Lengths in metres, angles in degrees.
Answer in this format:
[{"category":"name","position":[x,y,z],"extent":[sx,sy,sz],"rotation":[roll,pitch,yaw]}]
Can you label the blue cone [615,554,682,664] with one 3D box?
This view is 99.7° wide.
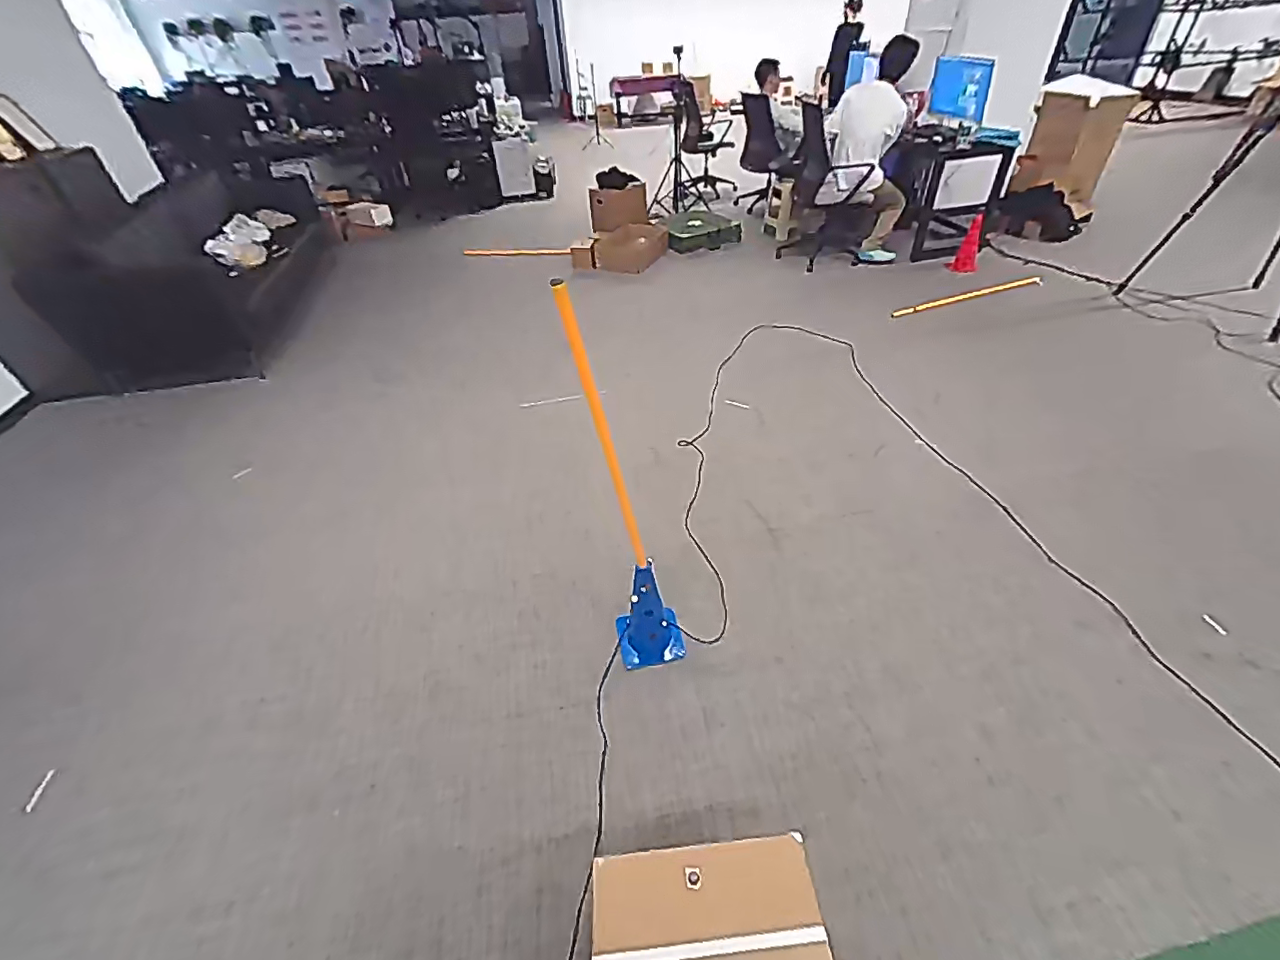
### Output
[{"category":"blue cone","position":[0.013,0.368,1.625],"extent":[0.193,0.380,0.192],"rotation":[-13,41,-7]}]
